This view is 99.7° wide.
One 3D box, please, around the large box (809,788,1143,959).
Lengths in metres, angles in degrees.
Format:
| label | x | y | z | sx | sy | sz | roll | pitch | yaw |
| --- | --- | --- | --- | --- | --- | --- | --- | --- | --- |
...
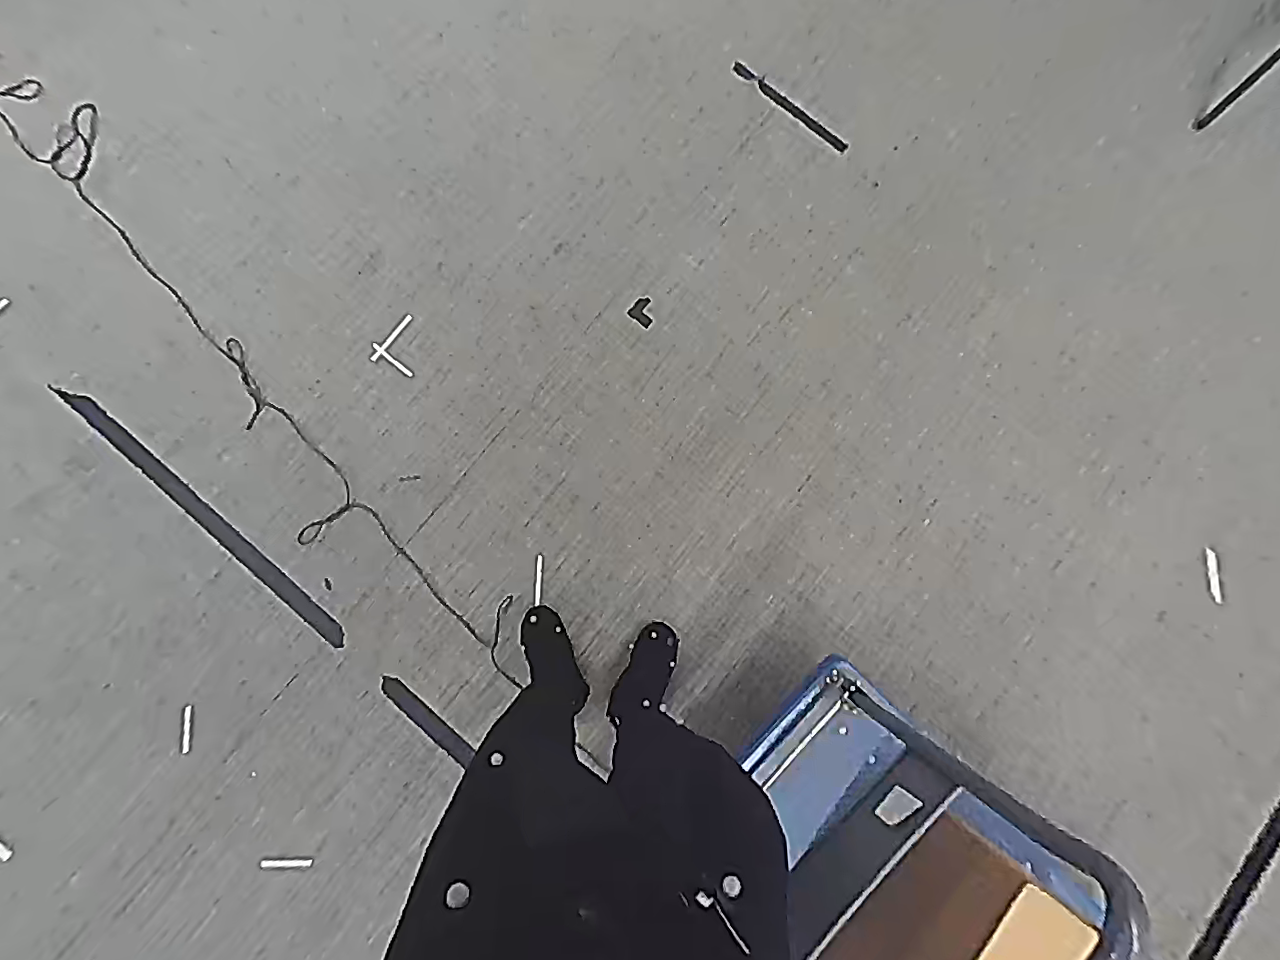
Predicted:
| label | x | y | z | sx | sy | sz | roll | pitch | yaw |
| --- | --- | --- | --- | --- | --- | --- | --- | --- | --- |
| large box | 0.566 | 0.847 | 0.920 | 0.320 | 0.320 | 0.408 | 37 | 85 | 4 |
